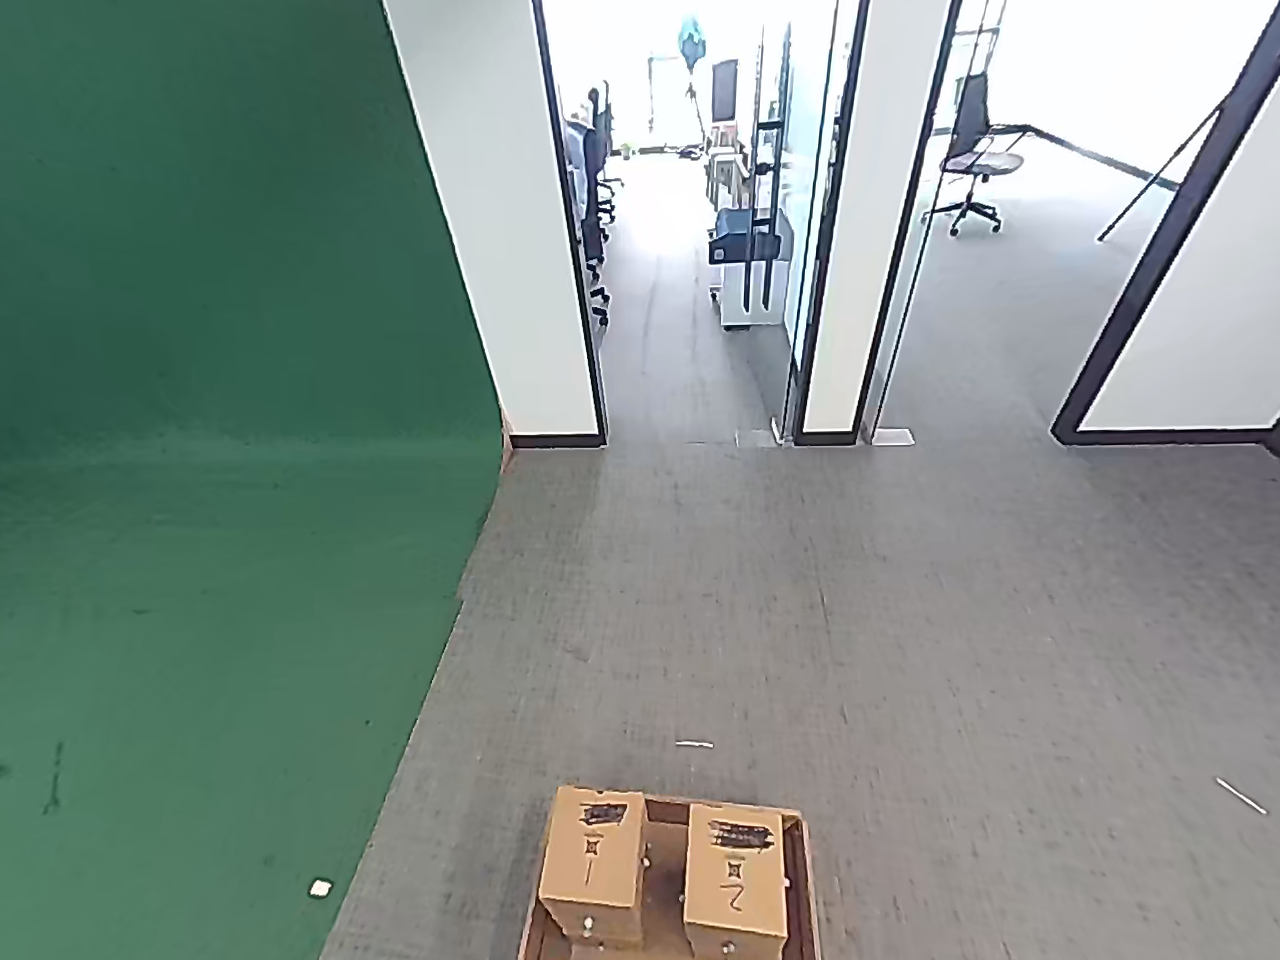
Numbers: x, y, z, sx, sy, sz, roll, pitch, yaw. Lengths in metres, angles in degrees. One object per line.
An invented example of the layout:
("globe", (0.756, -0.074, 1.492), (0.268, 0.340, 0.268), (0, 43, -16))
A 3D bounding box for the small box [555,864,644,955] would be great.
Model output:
("small box", (-0.082, 0.942, 1.222), (0.168, 0.176, 0.179), (3, 42, 7))

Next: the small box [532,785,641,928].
("small box", (-0.089, 0.699, 1.005), (0.168, 0.176, 0.179), (2, 42, 6))

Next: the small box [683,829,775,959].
("small box", (0.175, 0.833, 1.081), (0.168, 0.176, 0.179), (0, 41, 8))

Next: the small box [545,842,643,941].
("small box", (-0.085, 0.821, 1.114), (0.168, 0.176, 0.179), (1, 41, 6))
